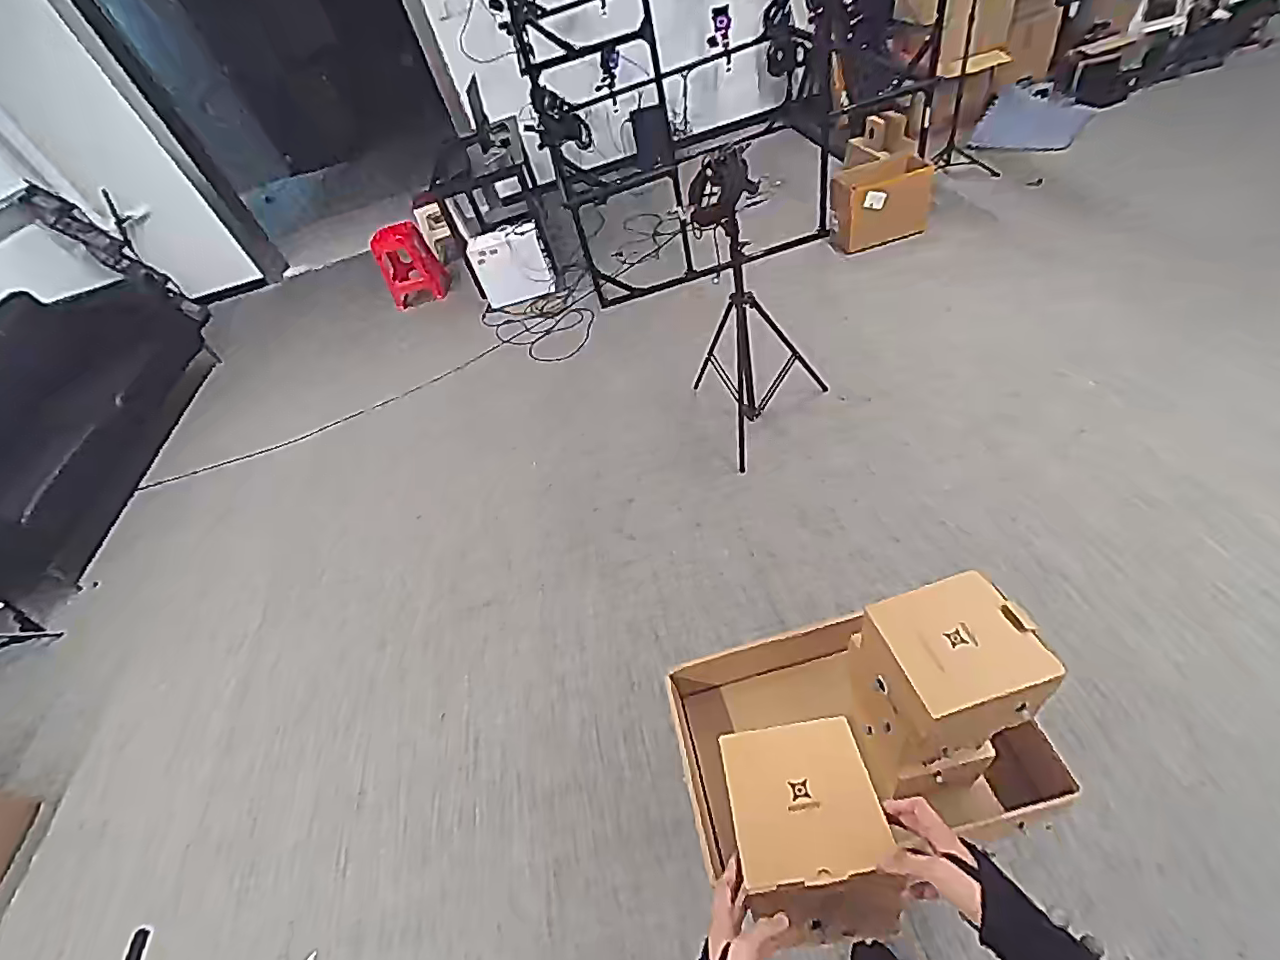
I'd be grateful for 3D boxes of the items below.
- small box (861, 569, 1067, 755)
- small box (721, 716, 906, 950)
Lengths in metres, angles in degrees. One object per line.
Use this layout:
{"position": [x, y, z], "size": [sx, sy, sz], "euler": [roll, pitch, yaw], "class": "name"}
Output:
{"position": [0.434, 0.259, 0.763], "size": [0.179, 0.176, 0.168], "euler": [-19, 45, 0], "class": "small box"}
{"position": [0.200, 0.426, 0.660], "size": [0.168, 0.176, 0.179], "euler": [-12, 32, 4], "class": "small box"}
